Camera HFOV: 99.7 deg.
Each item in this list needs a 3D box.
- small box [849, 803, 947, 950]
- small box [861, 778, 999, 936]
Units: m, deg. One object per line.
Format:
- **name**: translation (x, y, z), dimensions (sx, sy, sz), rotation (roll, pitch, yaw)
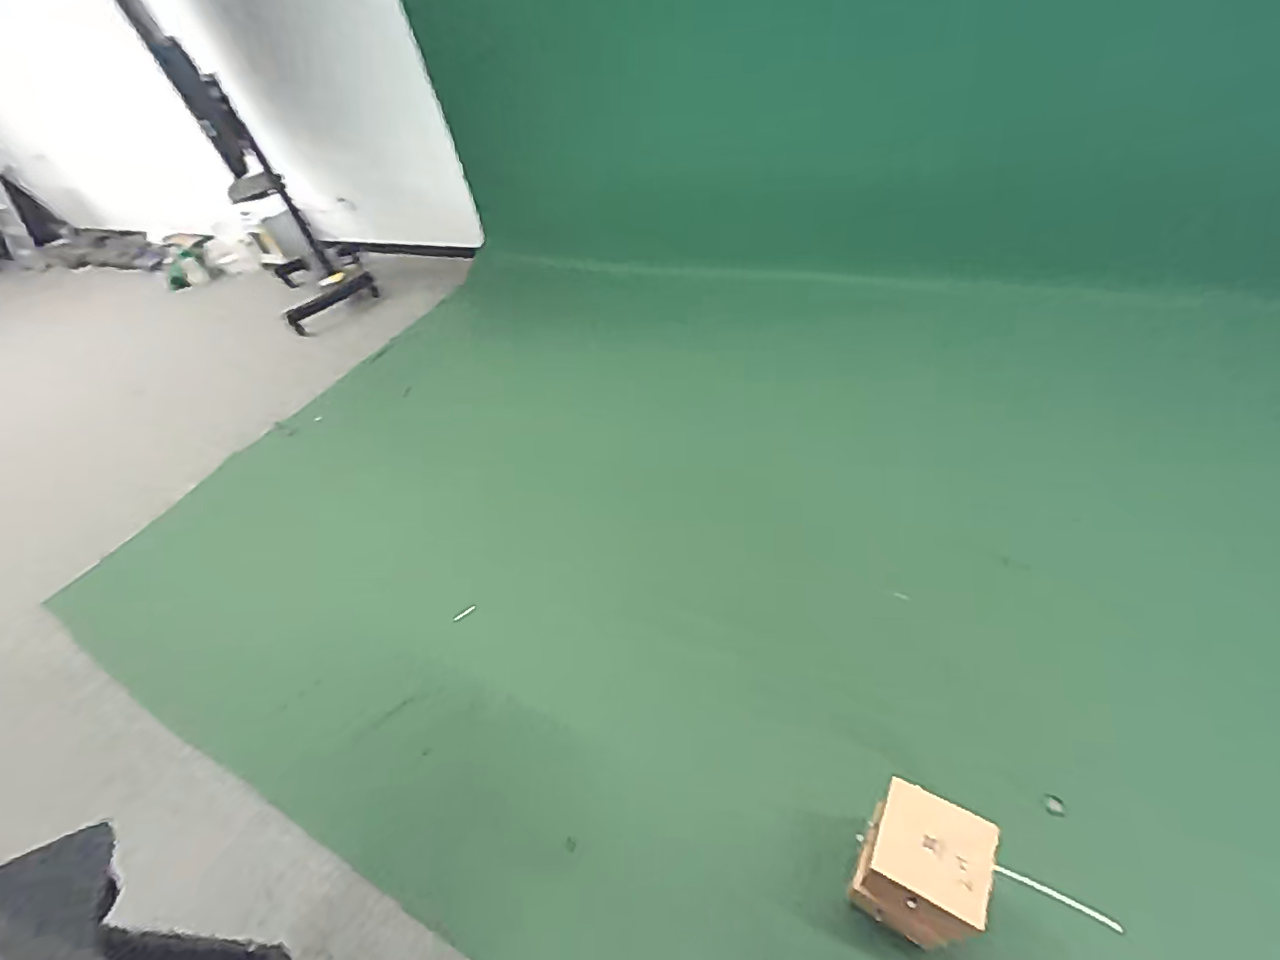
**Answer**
- **small box**: translation (0.536, 0.808, 1.100), dimensions (0.168, 0.176, 0.179), rotation (19, 53, 29)
- **small box**: translation (0.520, 0.689, 0.986), dimensions (0.179, 0.176, 0.168), rotation (18, 53, 28)
